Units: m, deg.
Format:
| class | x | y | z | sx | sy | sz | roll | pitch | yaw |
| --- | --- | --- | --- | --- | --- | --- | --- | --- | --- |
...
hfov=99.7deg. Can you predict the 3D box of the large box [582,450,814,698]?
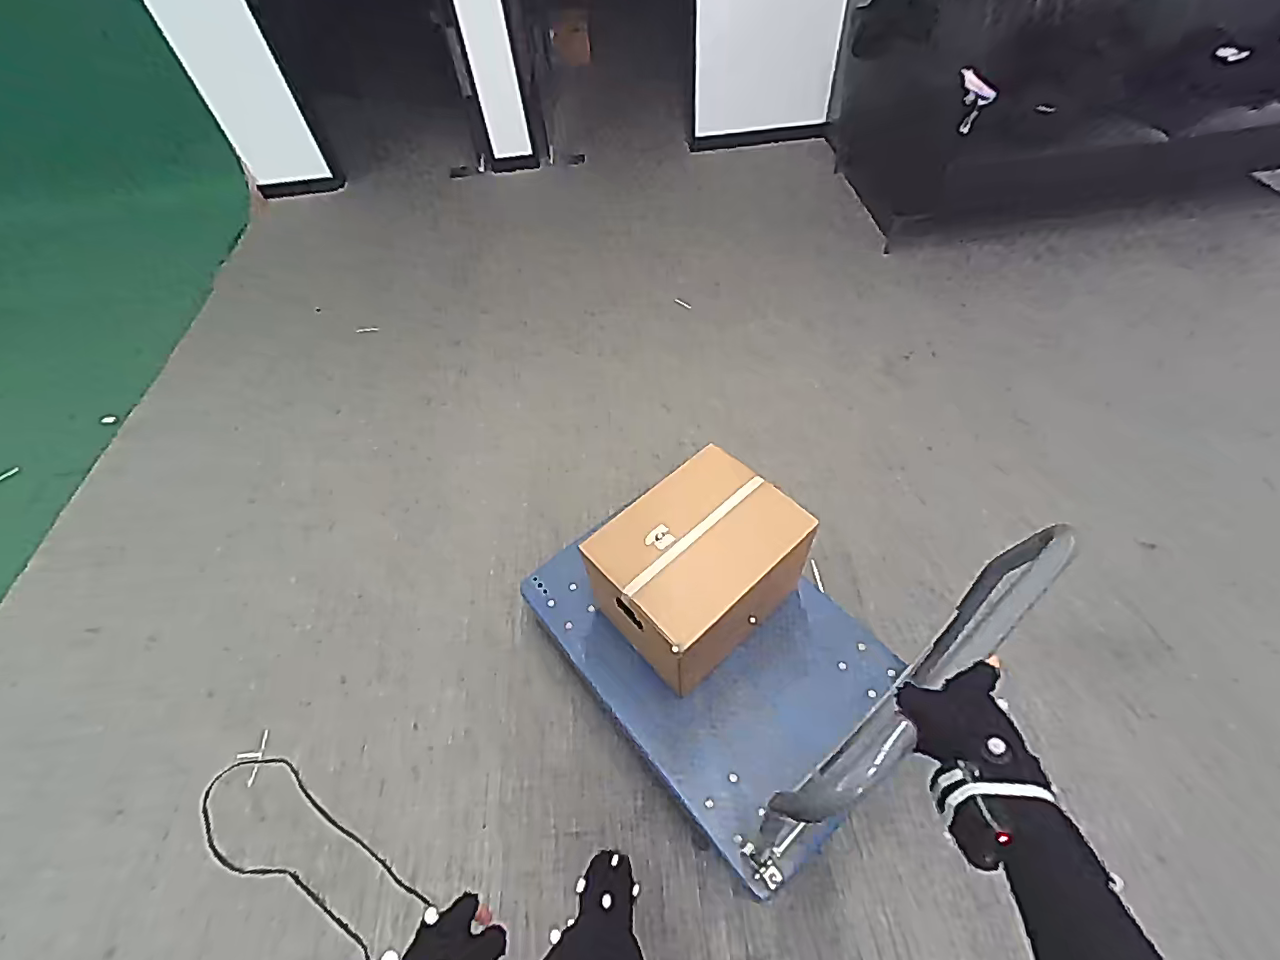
| class | x | y | z | sx | sy | sz | roll | pitch | yaw |
| --- | --- | --- | --- | --- | --- | --- | --- | --- | --- |
| large box | 0.135 | 0.212 | 1.246 | 0.408 | 0.320 | 0.320 | -38 | 58 | -20 |
